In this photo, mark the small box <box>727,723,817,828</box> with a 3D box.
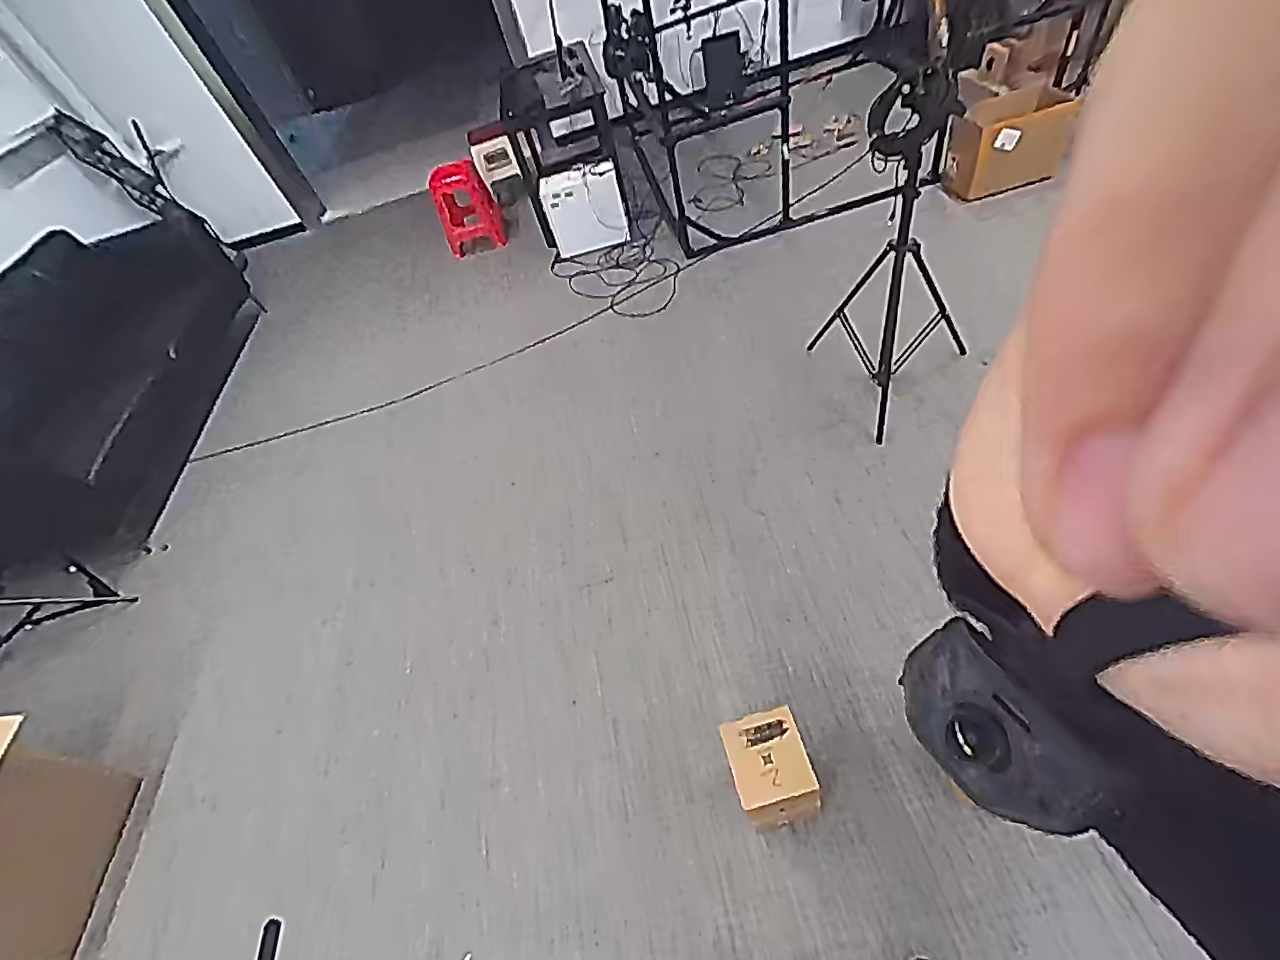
[{"bbox_3d":[0.326,0.738,1.345,0.168,0.176,0.179,-18,49,3],"label":"small box"}]

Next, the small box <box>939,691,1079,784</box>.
[{"bbox_3d":[0.777,0.537,1.160,0.168,0.176,0.179,-14,49,4],"label":"small box"}]

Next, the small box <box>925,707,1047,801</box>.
[{"bbox_3d":[0.806,0.640,1.285,0.168,0.176,0.179,-14,50,5],"label":"small box"}]

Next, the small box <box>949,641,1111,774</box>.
[{"bbox_3d":[0.727,0.439,1.037,0.168,0.176,0.179,-15,49,4],"label":"small box"}]
